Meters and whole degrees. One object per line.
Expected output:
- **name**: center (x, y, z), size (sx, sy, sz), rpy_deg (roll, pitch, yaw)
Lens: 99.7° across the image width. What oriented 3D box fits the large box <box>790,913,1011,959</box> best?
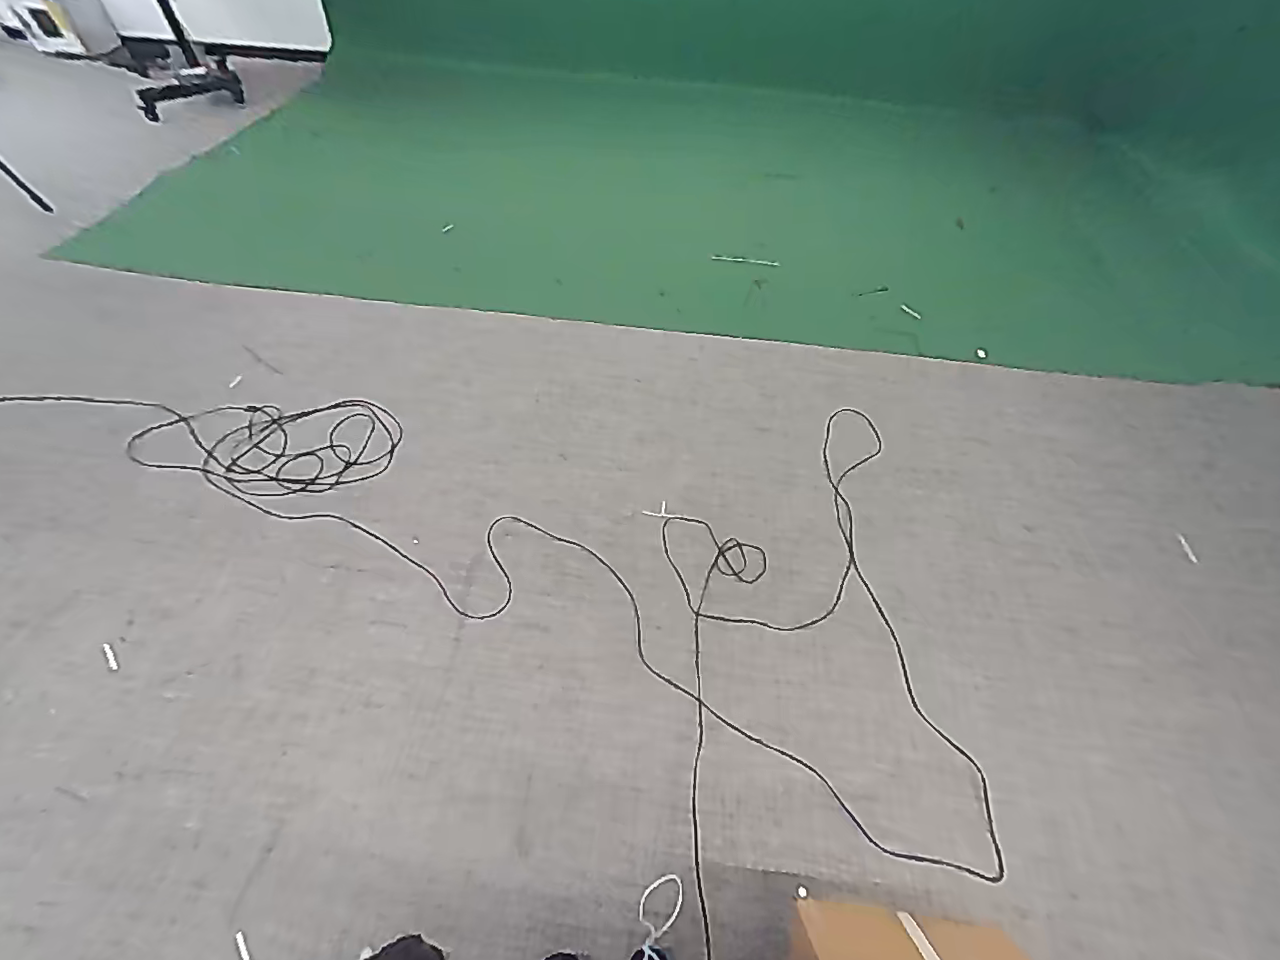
- **large box**: center (0.362, 0.804, 0.601), size (0.320, 0.408, 0.320), rpy_deg (9, 87, 1)
